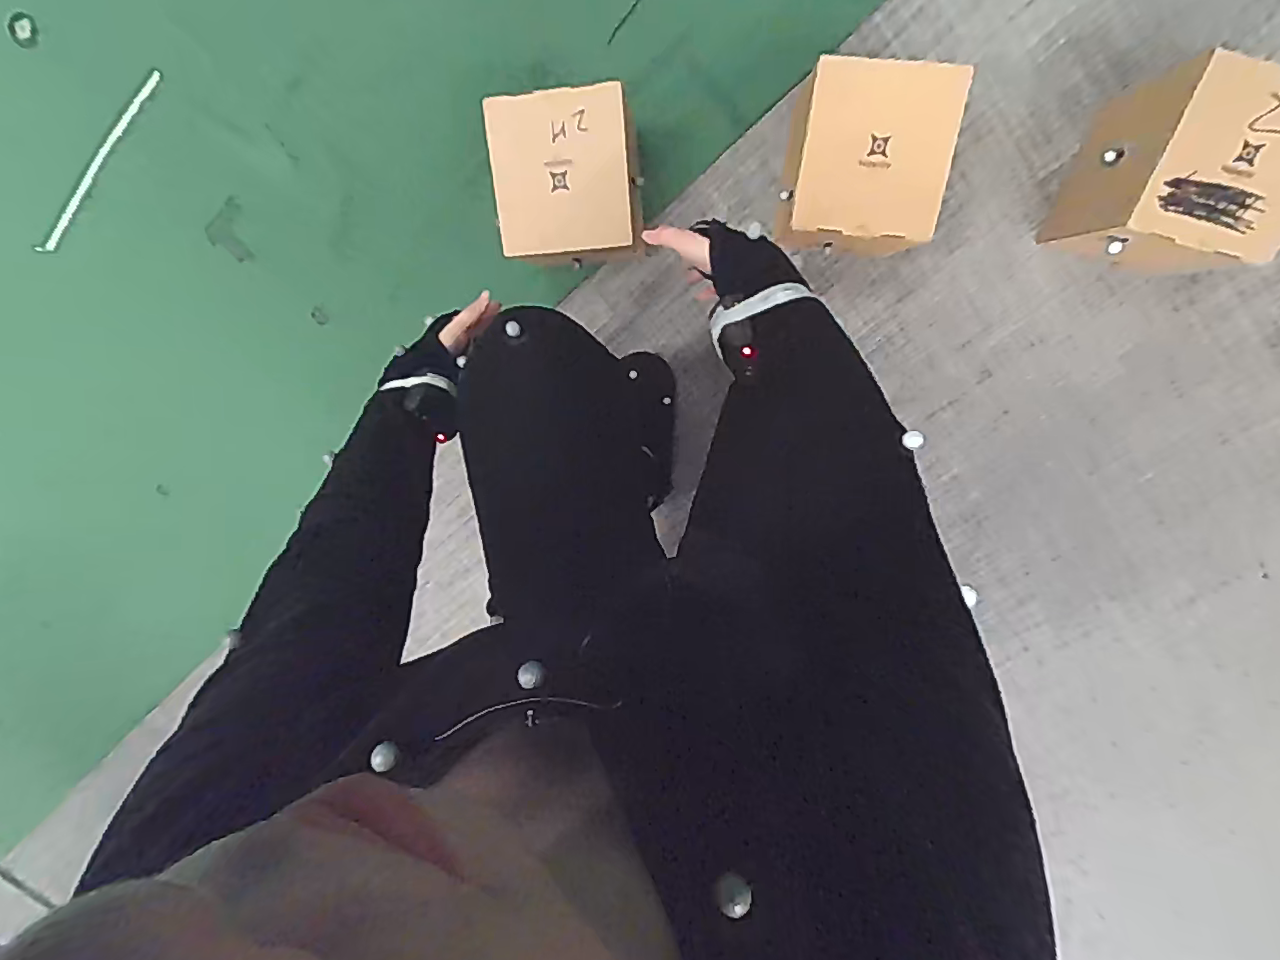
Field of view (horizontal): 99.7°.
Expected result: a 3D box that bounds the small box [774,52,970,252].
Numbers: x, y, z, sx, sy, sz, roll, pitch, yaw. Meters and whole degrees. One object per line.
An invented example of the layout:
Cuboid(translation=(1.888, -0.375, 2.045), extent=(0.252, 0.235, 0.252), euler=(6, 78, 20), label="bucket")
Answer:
Cuboid(translation=(0.274, -0.398, 0.685), extent=(0.168, 0.176, 0.179), euler=(7, 109, 4), label="small box")

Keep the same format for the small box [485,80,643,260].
Cuboid(translation=(-0.087, -0.393, 0.720), extent=(0.168, 0.176, 0.179), euler=(-2, 107, 6), label="small box")
